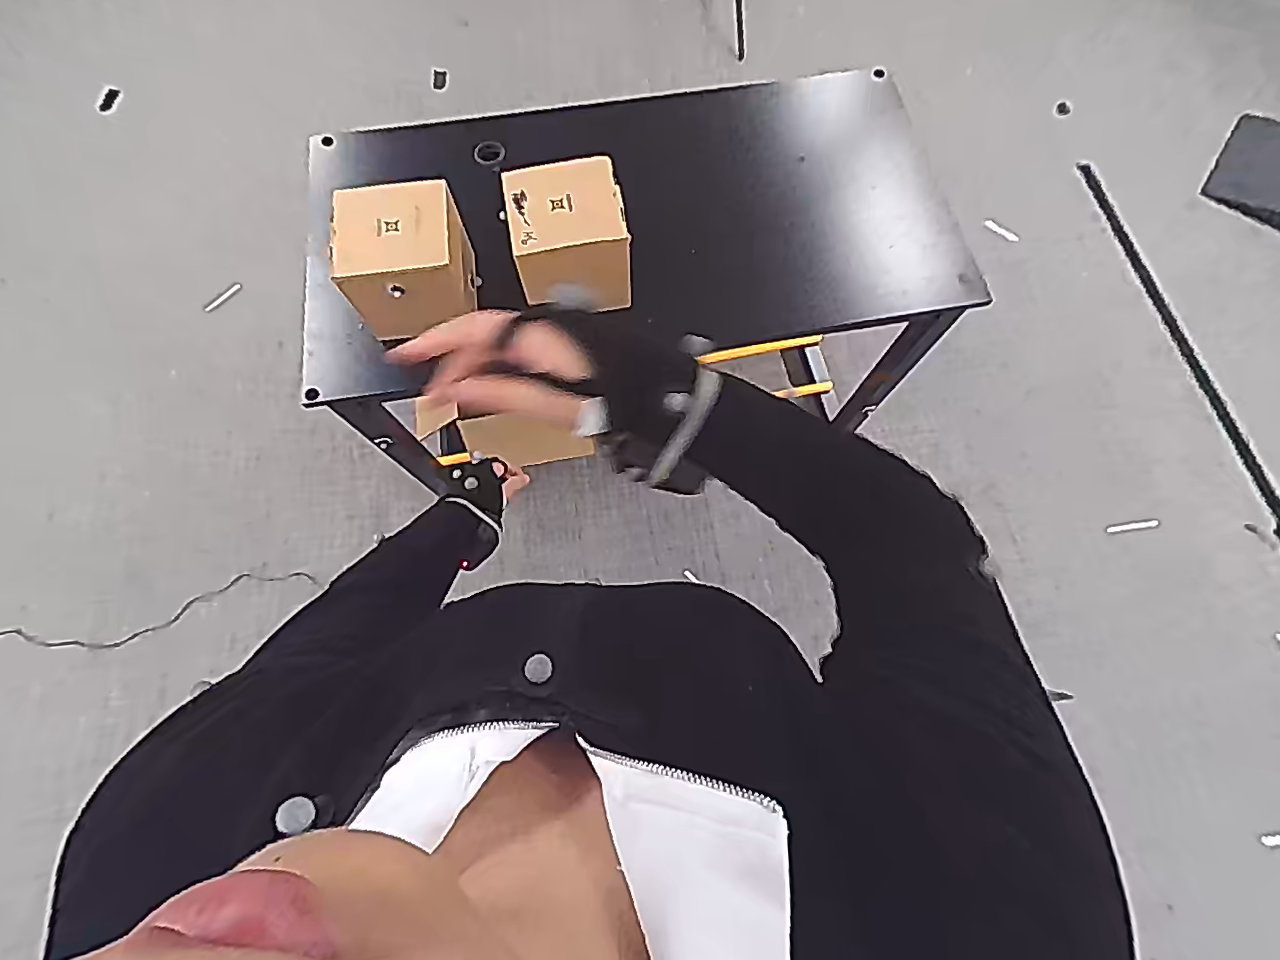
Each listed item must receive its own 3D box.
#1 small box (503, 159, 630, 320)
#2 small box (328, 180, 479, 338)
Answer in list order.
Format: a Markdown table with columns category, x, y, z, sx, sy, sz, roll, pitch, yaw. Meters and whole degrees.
| category | x | y | z | sx | sy | sz | roll | pitch | yaw |
| --- | --- | --- | --- | --- | --- | --- | --- | --- | --- |
| small box | -0.116 | -0.390 | 0.896 | 0.179 | 0.176 | 0.168 | -10 | 71 | -4 |
| small box | -0.376 | -0.350 | 0.883 | 0.179 | 0.176 | 0.168 | -9 | 73 | -4 |
